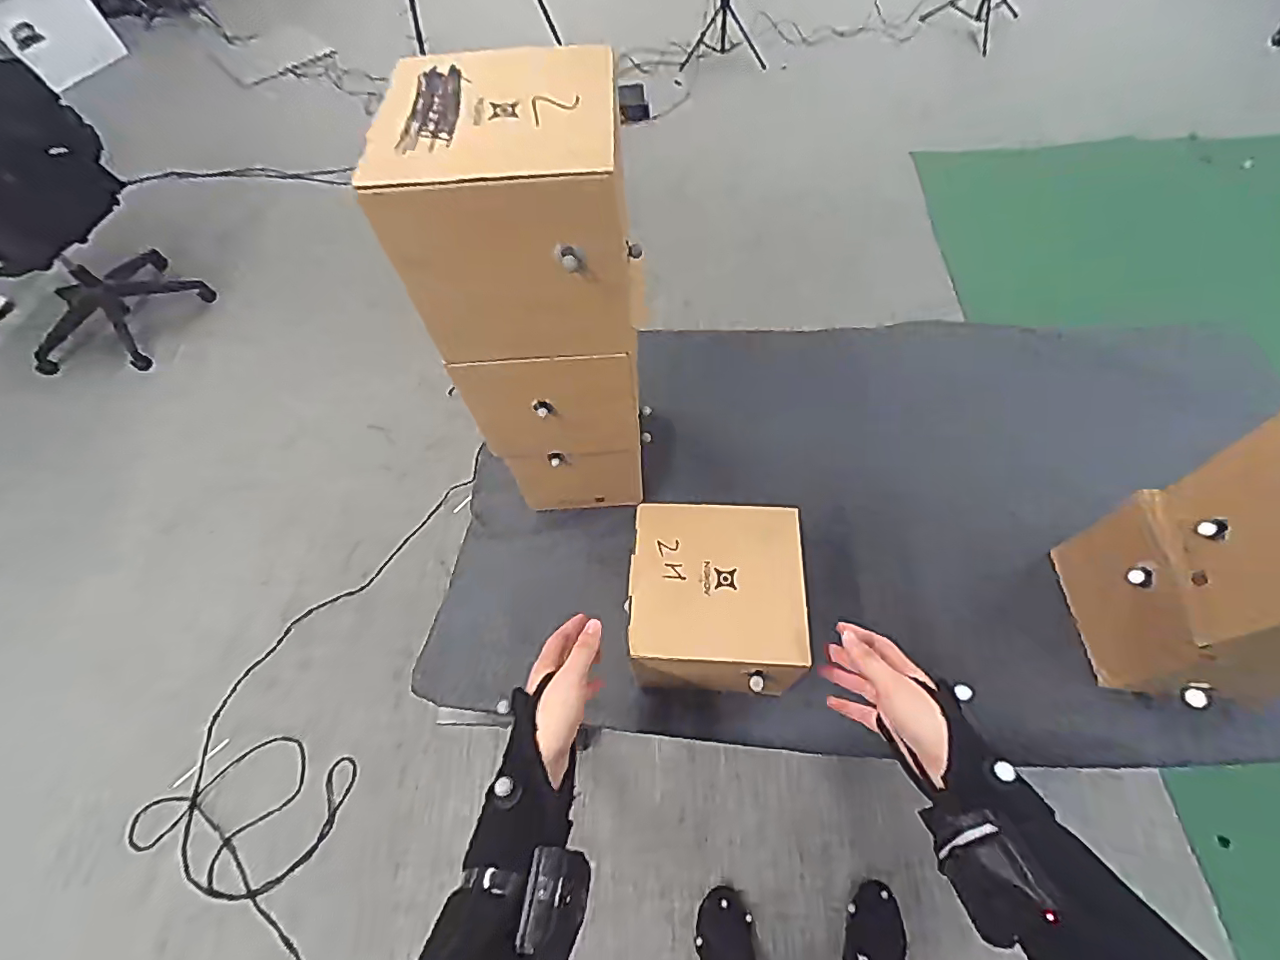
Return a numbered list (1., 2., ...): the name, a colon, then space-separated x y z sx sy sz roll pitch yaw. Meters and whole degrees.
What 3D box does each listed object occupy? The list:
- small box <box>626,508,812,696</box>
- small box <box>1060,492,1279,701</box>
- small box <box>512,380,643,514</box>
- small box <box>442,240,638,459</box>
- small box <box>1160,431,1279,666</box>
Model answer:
1. small box: 0.084 0.144 0.614 0.179 0.176 0.168 1 60 6
2. small box: 0.603 0.128 0.580 0.168 0.176 0.179 -1 59 6
3. small box: -0.083 -0.070 0.753 0.168 0.176 0.179 -4 60 2
4. small box: -0.093 -0.136 0.602 0.179 0.176 0.168 -4 61 3
5. small box: 0.590 0.057 0.433 0.179 0.176 0.168 9 60 11
